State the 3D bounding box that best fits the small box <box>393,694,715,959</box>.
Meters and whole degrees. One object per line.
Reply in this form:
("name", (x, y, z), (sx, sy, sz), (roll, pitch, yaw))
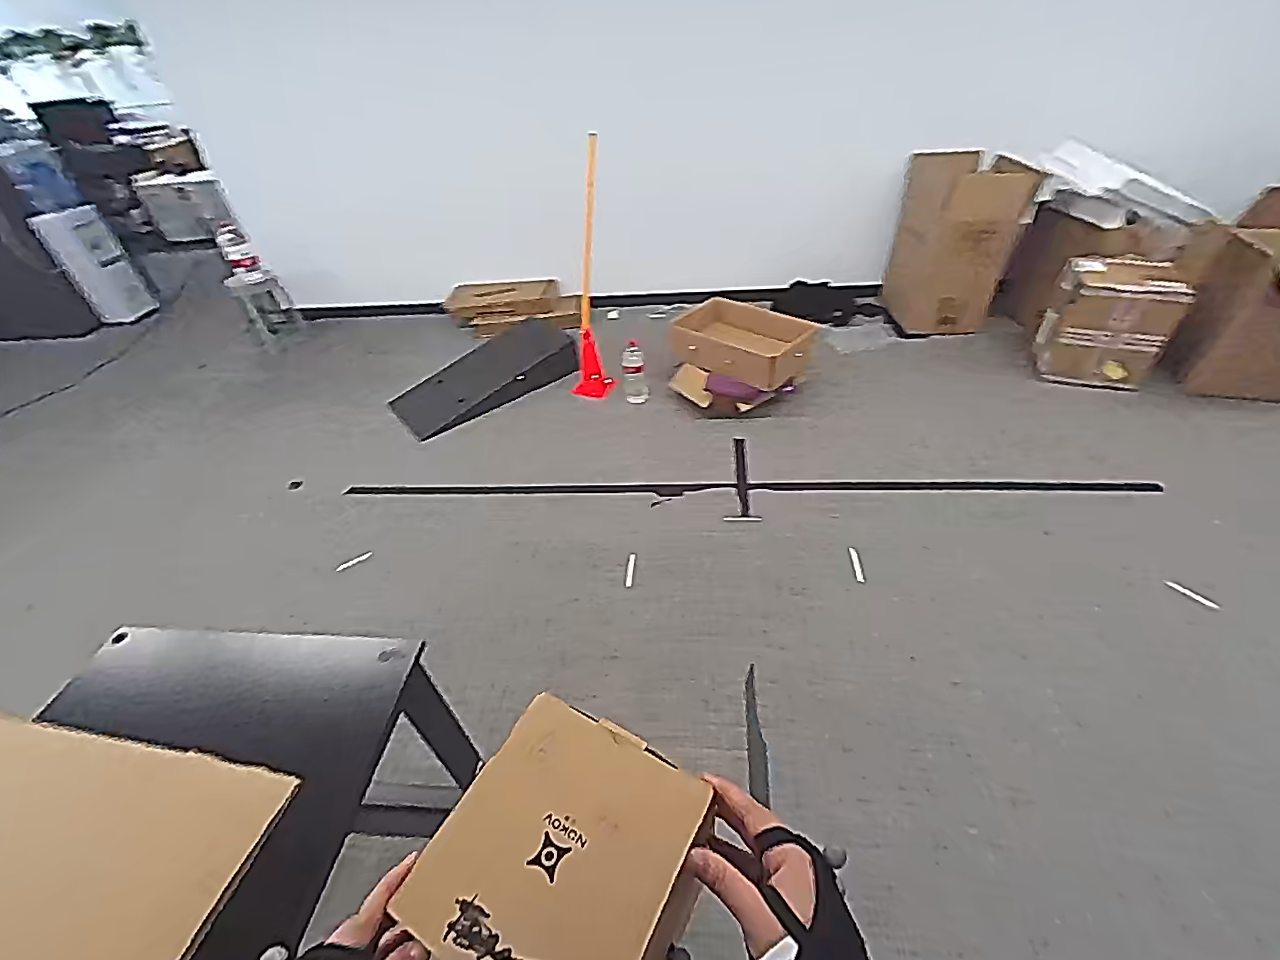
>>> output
("small box", (-0.050, 0.318, 0.433), (0.168, 0.176, 0.179), (16, 44, 26))
